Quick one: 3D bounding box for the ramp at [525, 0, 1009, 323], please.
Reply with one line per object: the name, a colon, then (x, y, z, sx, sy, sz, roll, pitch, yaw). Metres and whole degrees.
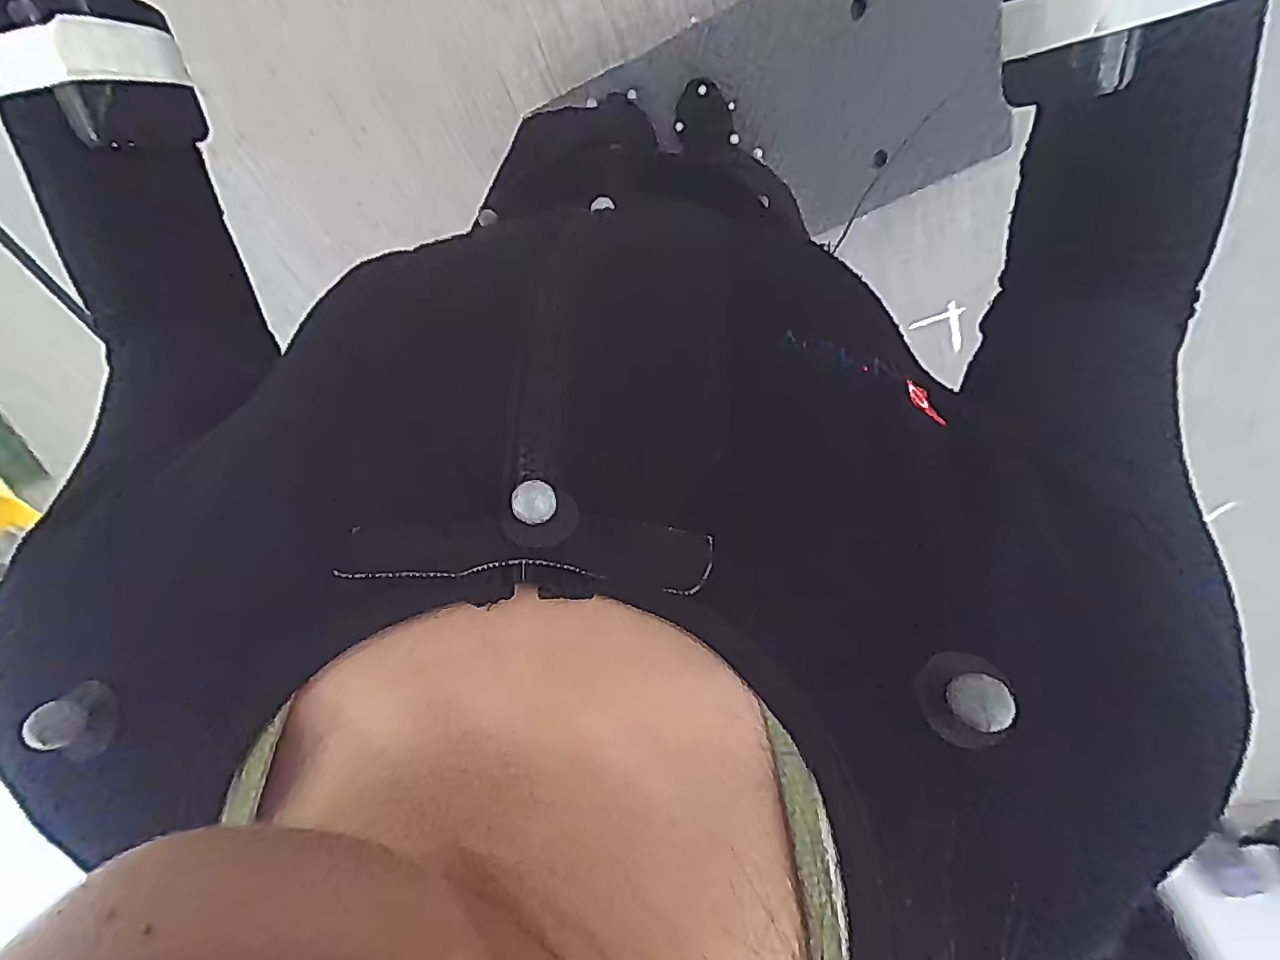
ramp: (0.299, -0.776, 1.201, 0.991, 0.206, 0.509, -18, 122, 18)
